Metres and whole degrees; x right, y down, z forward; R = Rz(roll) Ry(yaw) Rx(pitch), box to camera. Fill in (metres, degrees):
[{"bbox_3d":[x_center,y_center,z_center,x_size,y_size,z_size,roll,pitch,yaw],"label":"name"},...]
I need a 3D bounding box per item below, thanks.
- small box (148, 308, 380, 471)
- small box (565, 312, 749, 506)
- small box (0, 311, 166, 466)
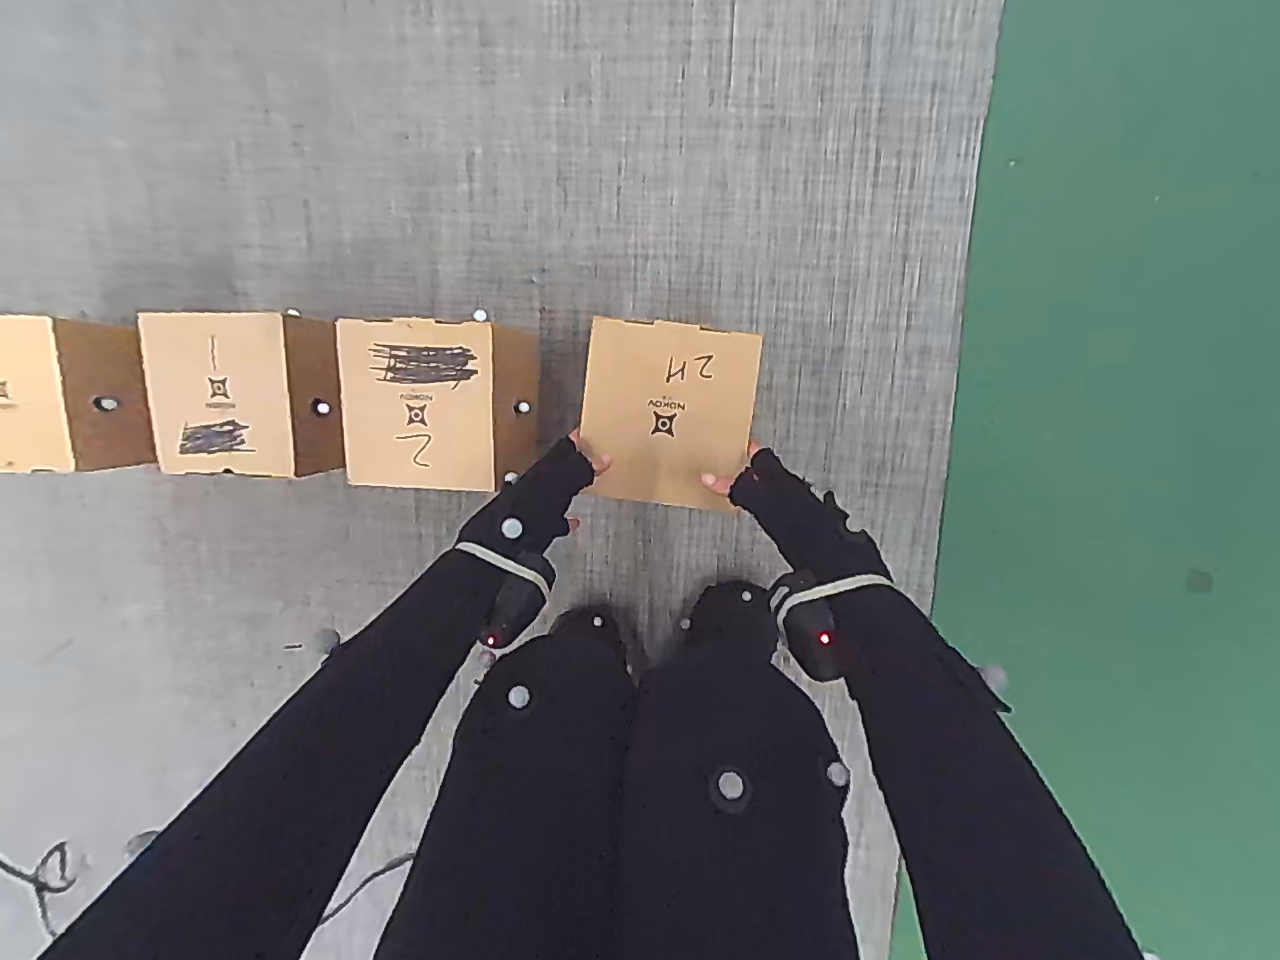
[{"bbox_3d":[-0.447,-0.112,0.672,0.168,0.176,0.179,2,99,7],"label":"small box"},{"bbox_3d":[0.022,-0.073,0.612,0.168,0.176,0.179,7,93,4],"label":"small box"},{"bbox_3d":[-0.712,-0.118,0.704,0.168,0.176,0.179,3,100,6],"label":"small box"}]
